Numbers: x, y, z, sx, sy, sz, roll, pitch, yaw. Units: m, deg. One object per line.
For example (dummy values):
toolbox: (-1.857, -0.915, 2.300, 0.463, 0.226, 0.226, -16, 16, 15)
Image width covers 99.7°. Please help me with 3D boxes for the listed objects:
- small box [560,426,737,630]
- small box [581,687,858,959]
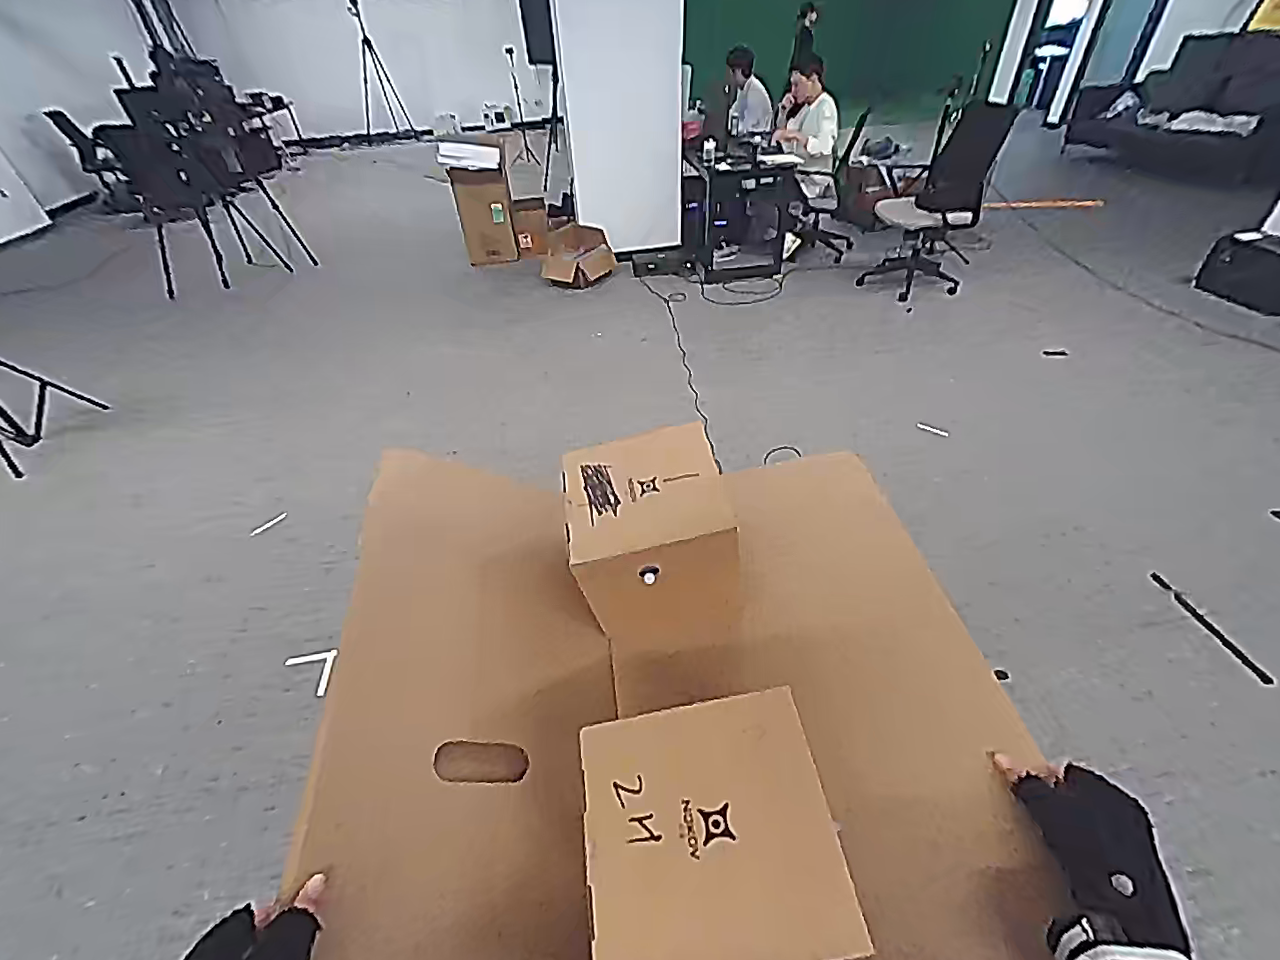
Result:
small box: (0.012, 0.065, 0.667, 0.179, 0.176, 0.168, -14, 48, 2)
small box: (0.058, 0.297, 0.454, 0.179, 0.176, 0.168, -13, 48, 4)
